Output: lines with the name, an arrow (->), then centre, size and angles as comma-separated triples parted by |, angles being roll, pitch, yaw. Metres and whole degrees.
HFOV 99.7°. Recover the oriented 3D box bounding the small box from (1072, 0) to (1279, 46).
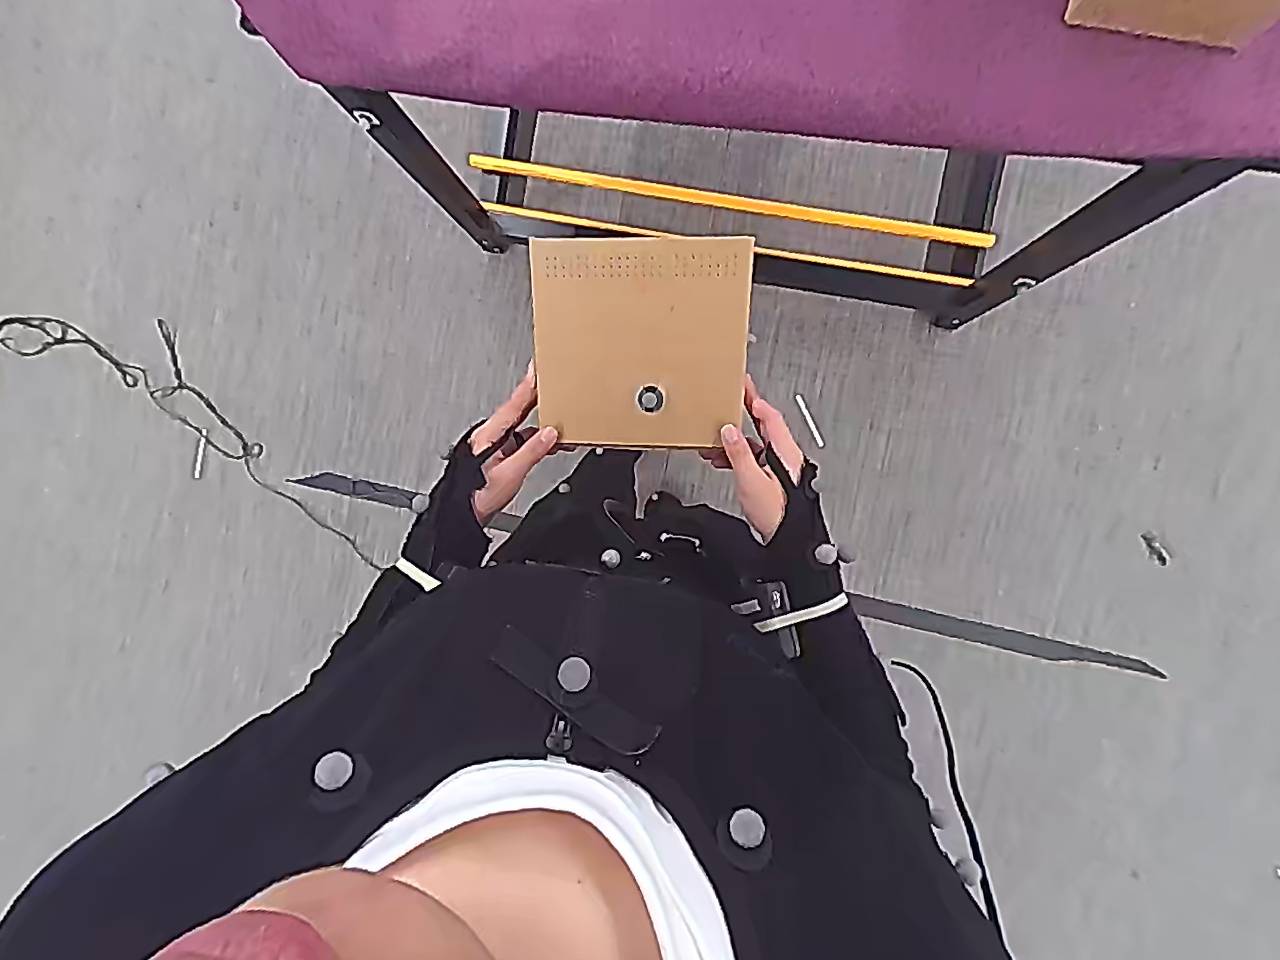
small box -> 0.541, -0.537, 0.481 | 0.179, 0.176, 0.168 | 14, 91, 5
